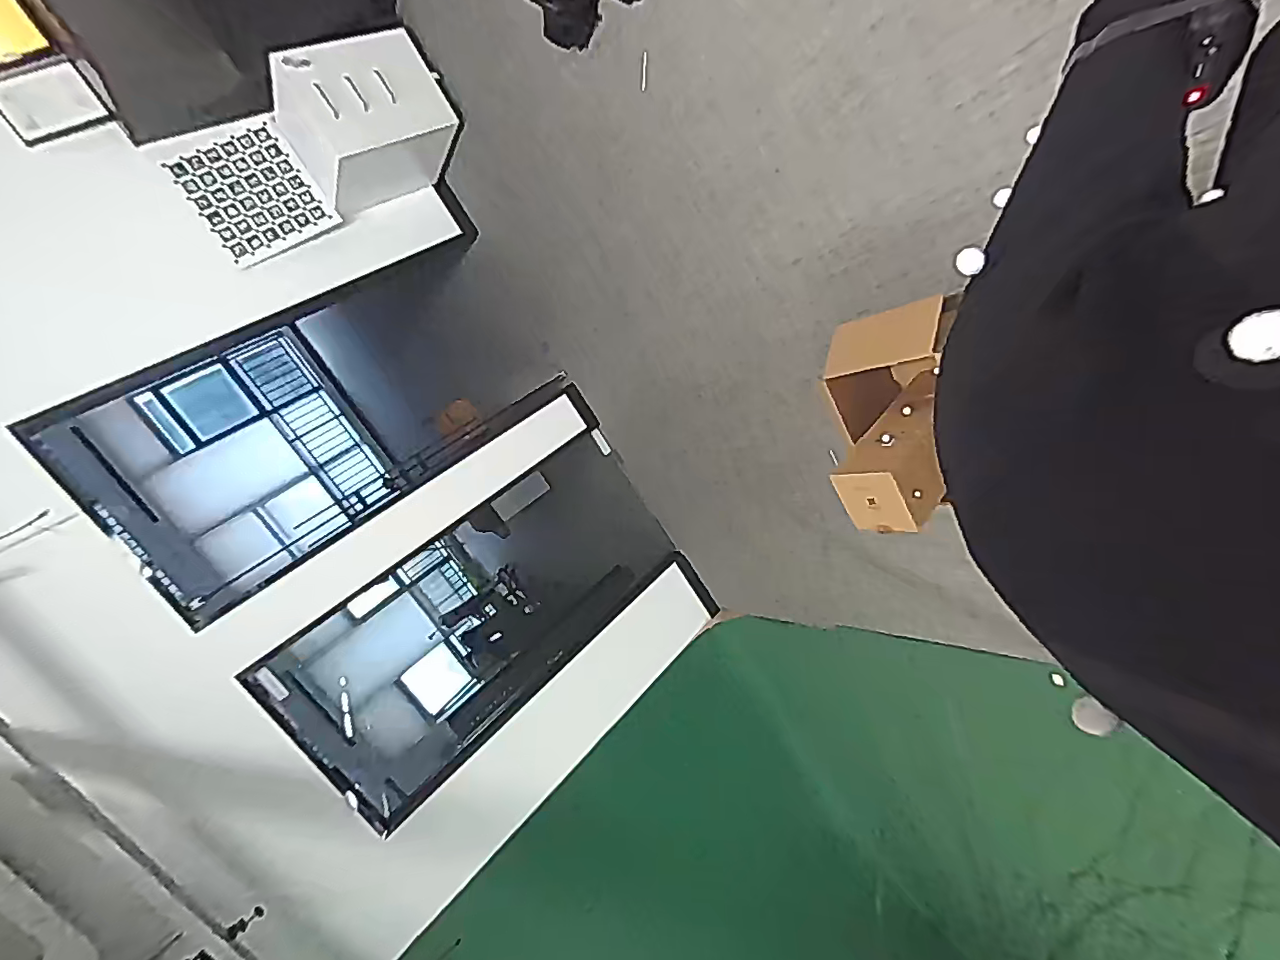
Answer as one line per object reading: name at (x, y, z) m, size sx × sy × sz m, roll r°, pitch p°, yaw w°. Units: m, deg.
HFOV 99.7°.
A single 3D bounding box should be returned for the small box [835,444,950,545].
small box at (0.616, 0.036, 1.309) m, size 0.168 × 0.176 × 0.179 m, roll -7°, pitch 120°, yaw 57°
